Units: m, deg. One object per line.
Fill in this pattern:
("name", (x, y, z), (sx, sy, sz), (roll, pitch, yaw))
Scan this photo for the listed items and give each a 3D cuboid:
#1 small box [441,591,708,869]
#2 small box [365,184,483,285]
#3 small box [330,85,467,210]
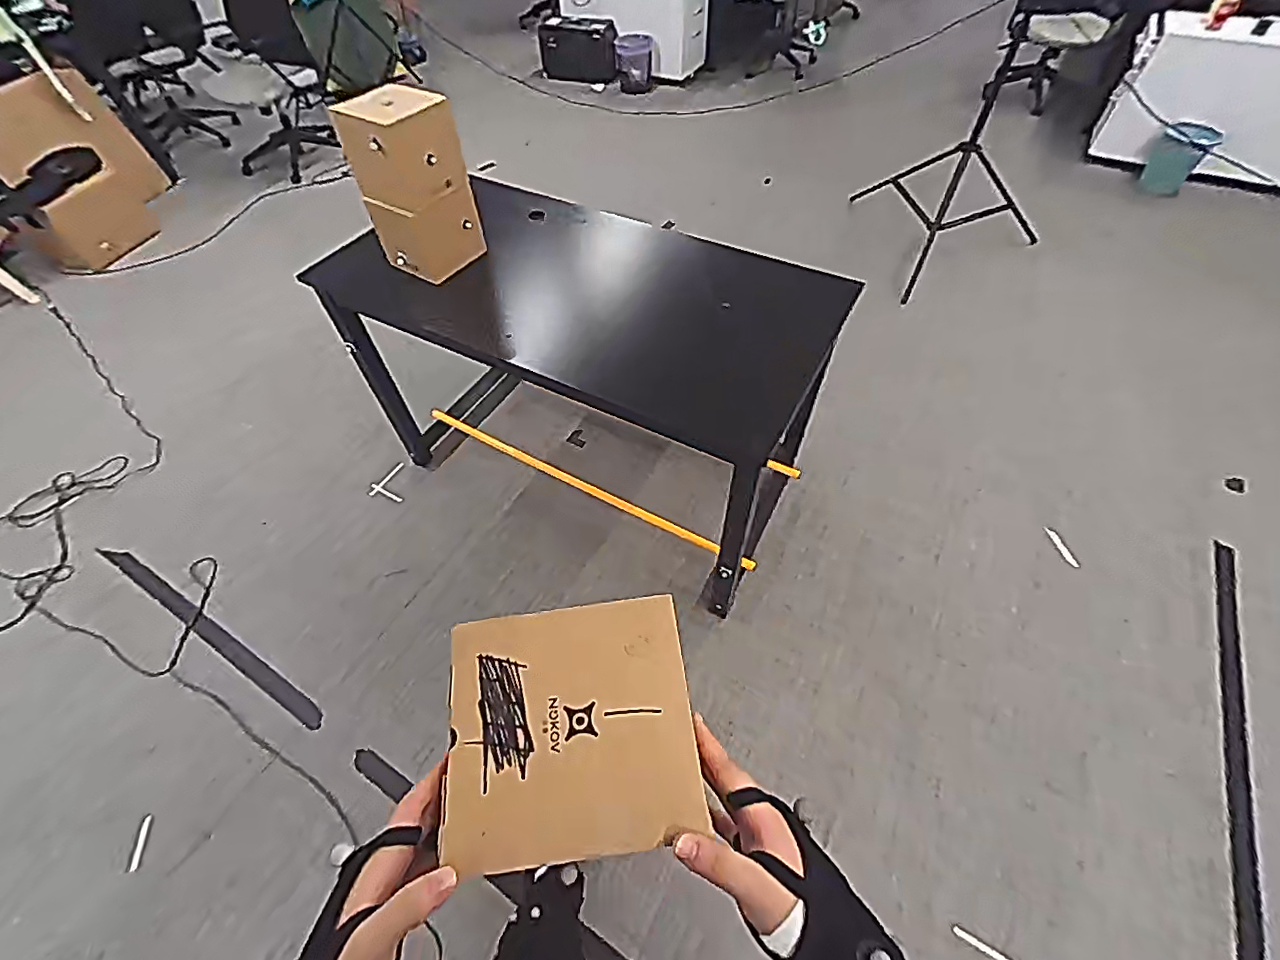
("small box", (-0.046, 0.209, 0.451), (0.179, 0.176, 0.168), (-8, 59, -2))
("small box", (-0.492, -0.592, 1.269), (0.168, 0.176, 0.179), (26, 59, 20))
("small box", (-0.497, -0.697, 1.141), (0.179, 0.176, 0.168), (26, 58, 20))
